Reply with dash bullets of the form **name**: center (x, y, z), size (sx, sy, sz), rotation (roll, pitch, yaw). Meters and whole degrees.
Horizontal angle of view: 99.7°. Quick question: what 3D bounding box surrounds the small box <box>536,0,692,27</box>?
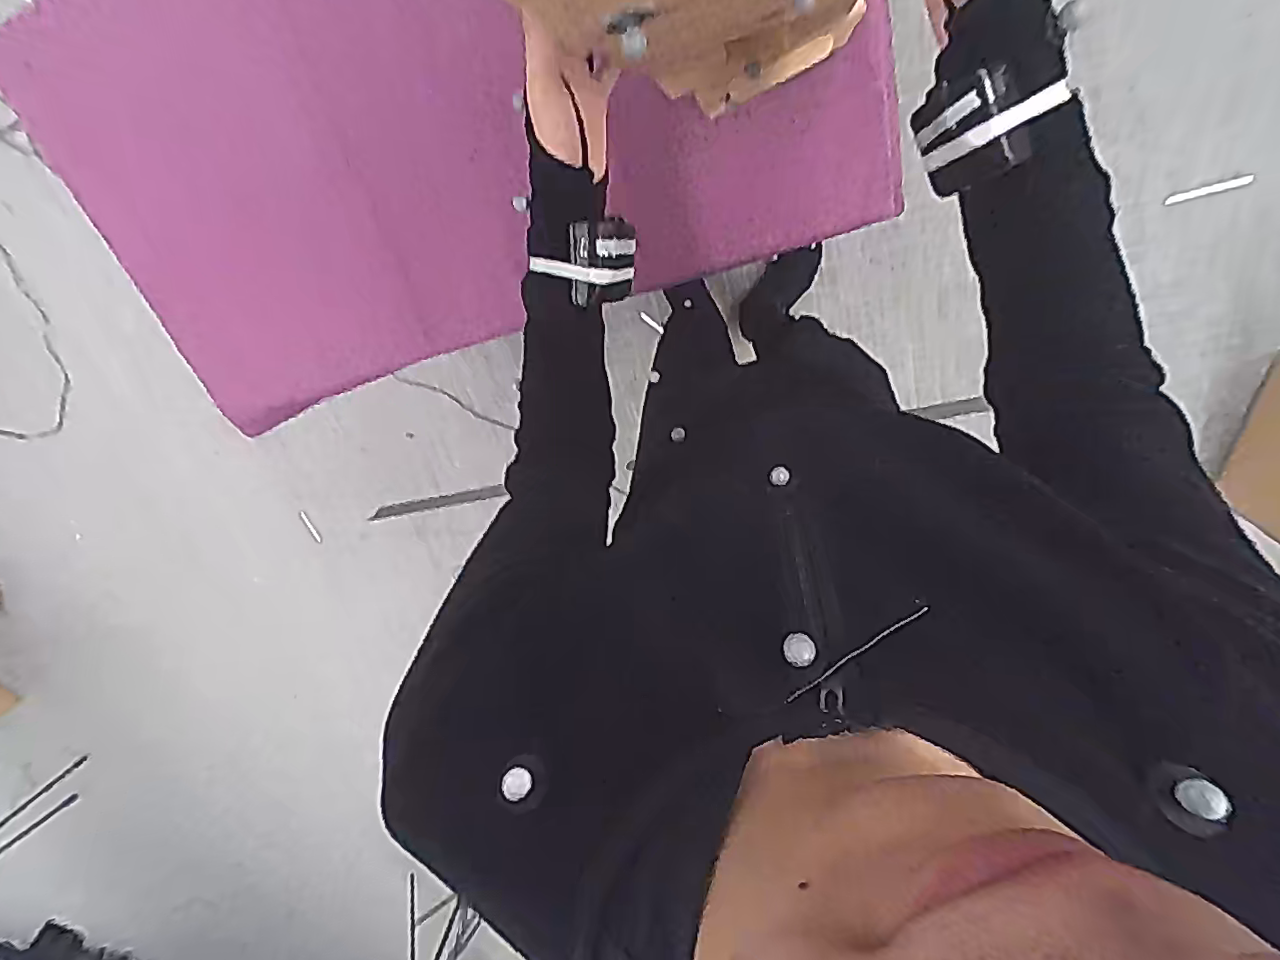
- **small box**: center (0.013, -0.260, 0.143), size (0.168, 0.176, 0.179), rotation (-9, 115, 15)

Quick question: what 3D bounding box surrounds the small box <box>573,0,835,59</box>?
- **small box**: center (0.036, -0.351, 0.279), size (0.168, 0.176, 0.179), rotation (-8, 115, 15)

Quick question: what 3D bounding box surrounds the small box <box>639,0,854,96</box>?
- **small box**: center (0.067, -0.433, 0.416), size (0.168, 0.176, 0.179), rotation (-10, 116, 17)
